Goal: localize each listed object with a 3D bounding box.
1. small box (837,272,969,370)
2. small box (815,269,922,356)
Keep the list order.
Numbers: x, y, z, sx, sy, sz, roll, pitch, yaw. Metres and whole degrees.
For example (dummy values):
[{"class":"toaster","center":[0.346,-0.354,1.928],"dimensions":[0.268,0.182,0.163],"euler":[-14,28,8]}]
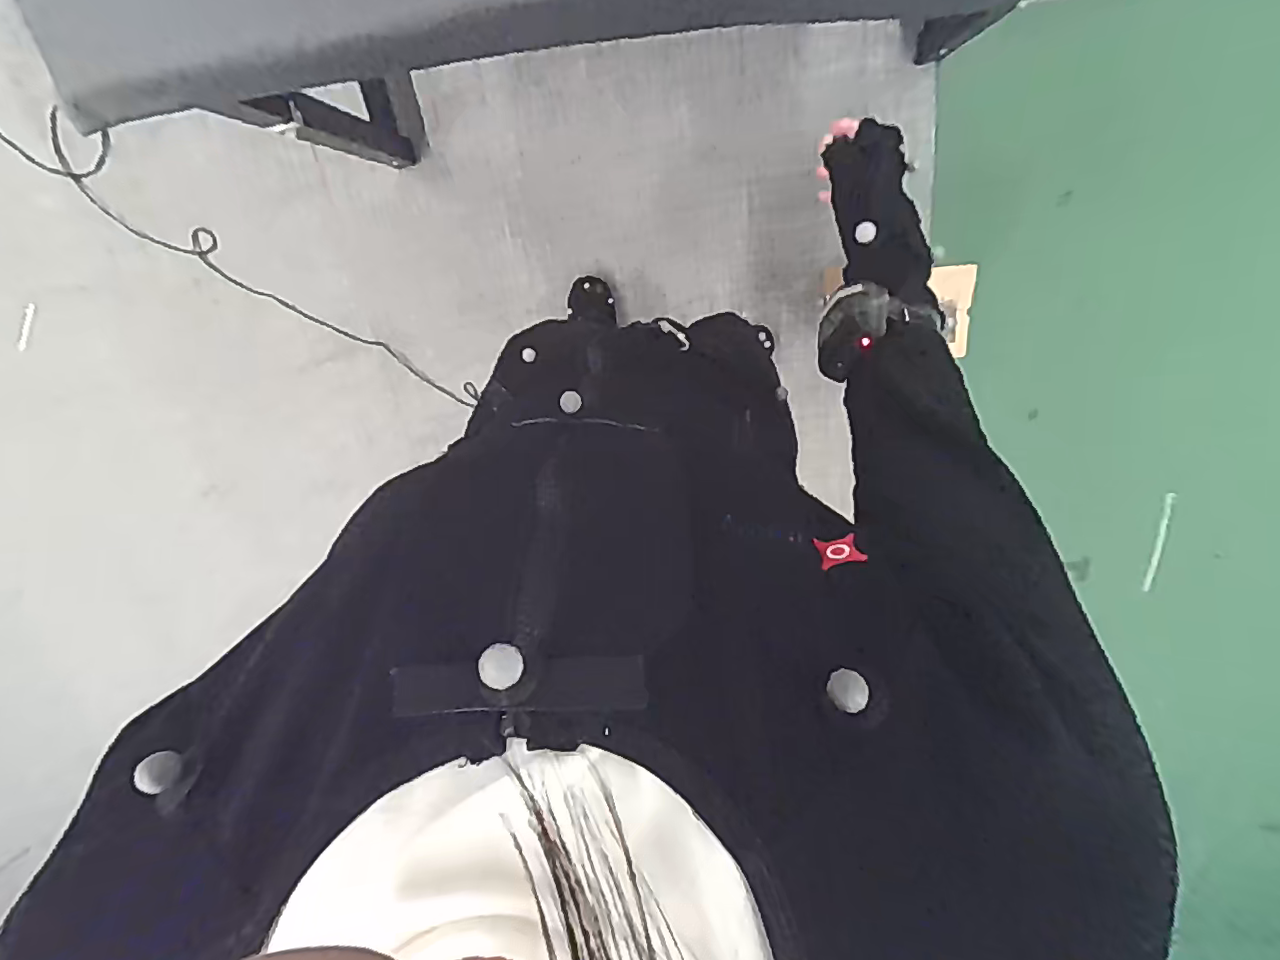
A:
[{"class":"small box","center":[0.508,-0.319,1.070],"dimensions":[0.179,0.176,0.168],"euler":[-3,111,4]},{"class":"small box","center":[0.508,-0.383,1.222],"dimensions":[0.179,0.176,0.168],"euler":[-4,111,5]}]
